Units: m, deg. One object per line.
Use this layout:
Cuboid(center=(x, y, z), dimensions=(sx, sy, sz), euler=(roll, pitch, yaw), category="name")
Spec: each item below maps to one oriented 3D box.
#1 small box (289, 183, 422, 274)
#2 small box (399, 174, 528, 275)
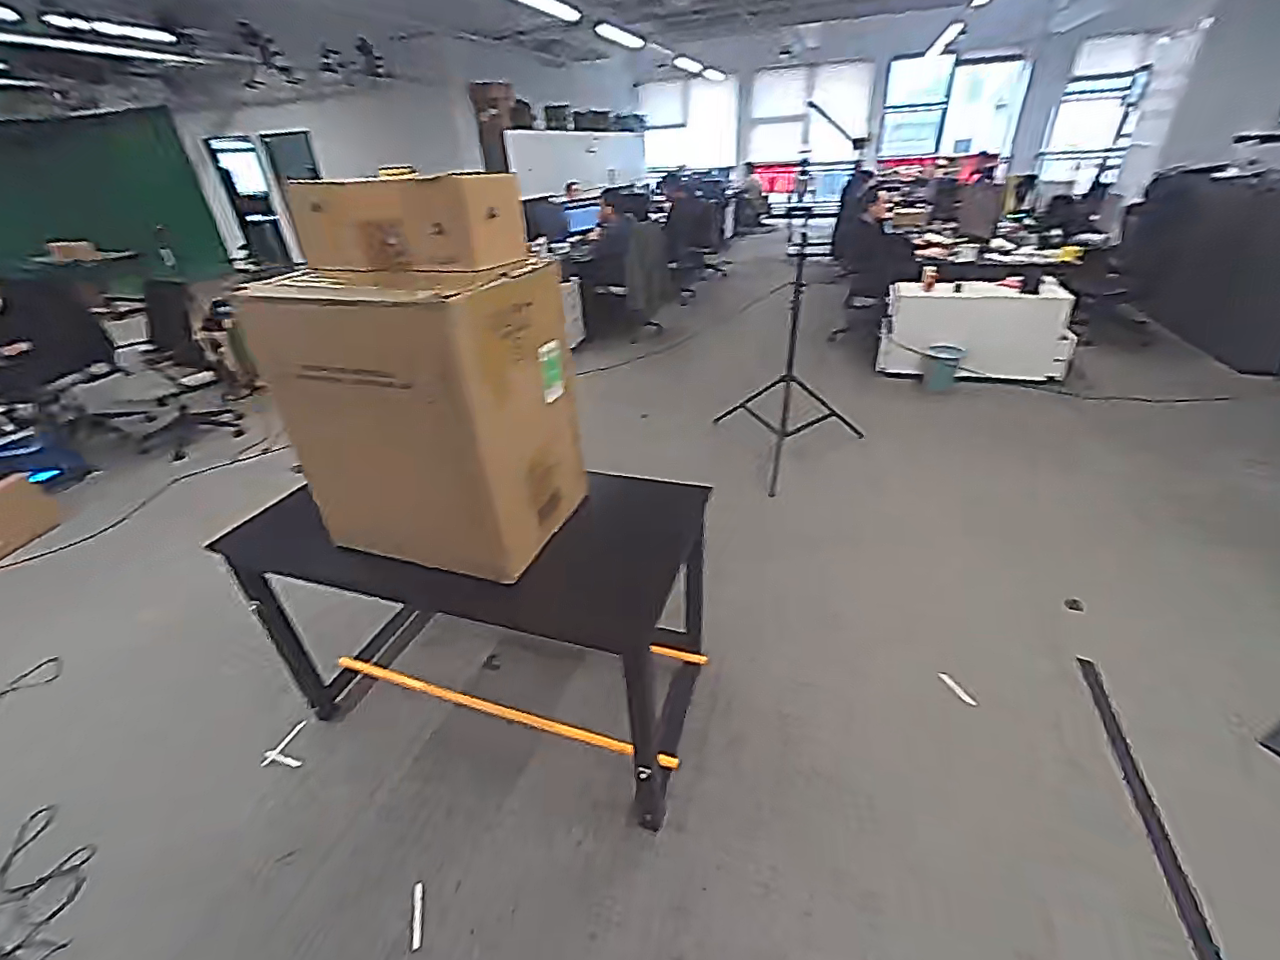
Cuboid(center=(-0.614, -0.552, 1.186), dimensions=(0.179, 0.176, 0.168), euler=(9, 33, 18), category="small box")
Cuboid(center=(-0.348, -0.520, 1.105), dimensions=(0.168, 0.176, 0.179), euler=(9, 32, 22), category="small box")
